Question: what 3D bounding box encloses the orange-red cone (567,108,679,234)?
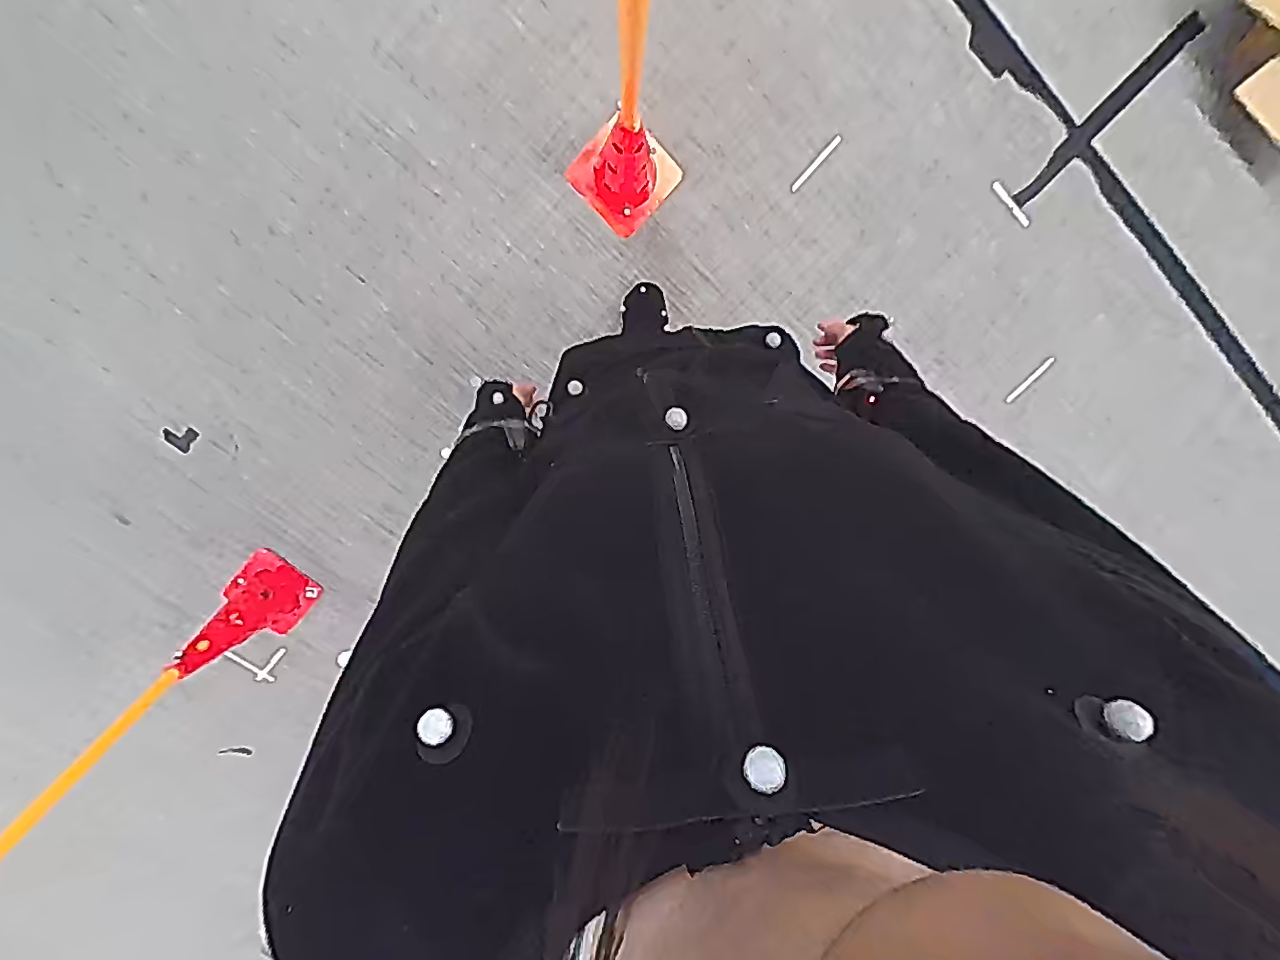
[{"bbox_3d":[-0.026,-0.643,1.055,0.199,0.360,0.198,-44,105,8],"label":"orange-red cone"}]
